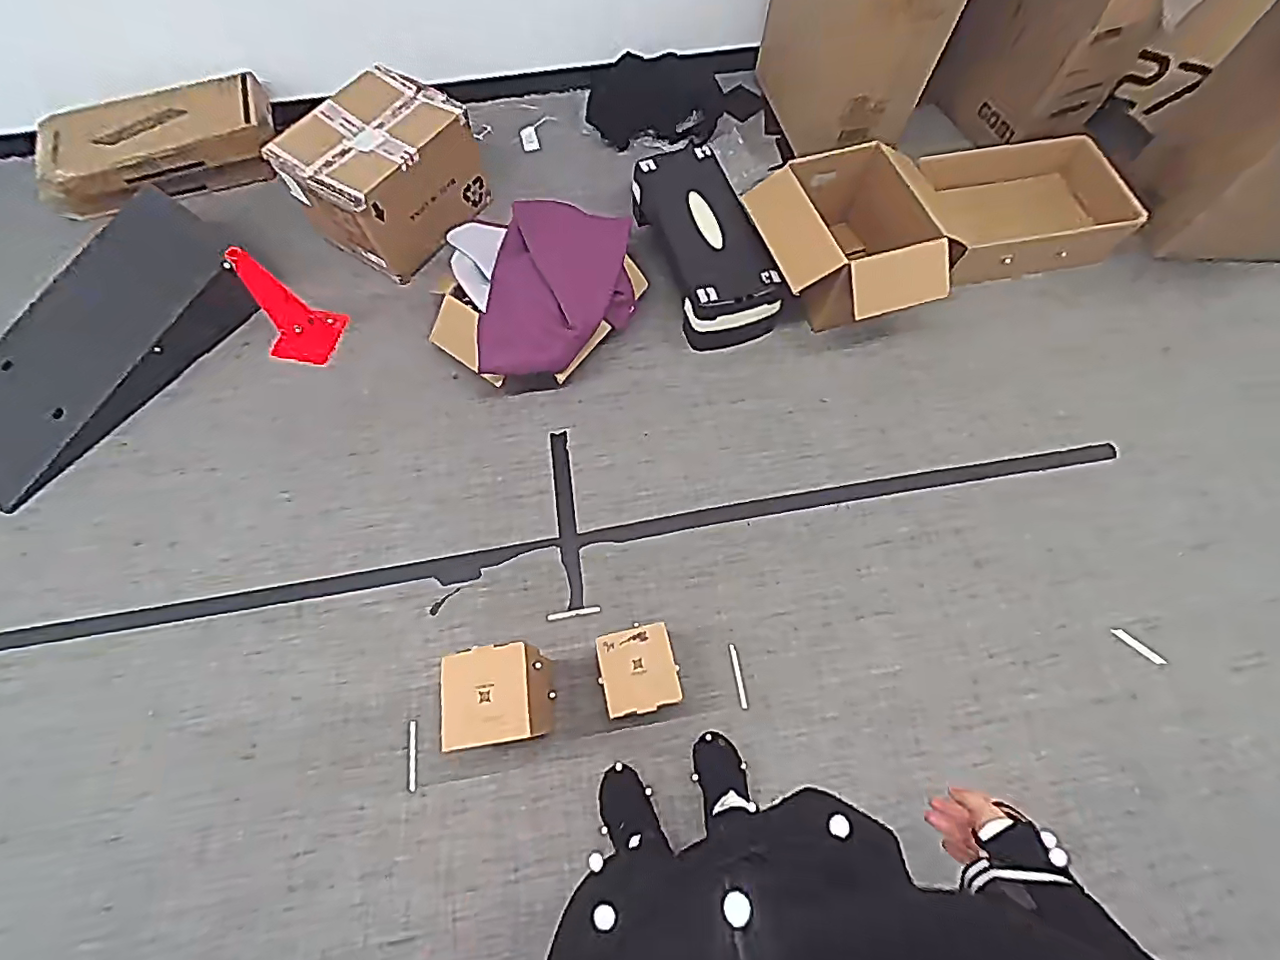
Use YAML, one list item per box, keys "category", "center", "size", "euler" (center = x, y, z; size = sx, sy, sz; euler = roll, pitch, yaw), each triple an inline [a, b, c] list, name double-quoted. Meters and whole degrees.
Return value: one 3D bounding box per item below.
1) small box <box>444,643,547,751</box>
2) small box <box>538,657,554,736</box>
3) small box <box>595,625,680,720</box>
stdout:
- category: "small box"
  center: [-0.292, 0.443, 1.109]
  size: [0.168, 0.176, 0.179]
  euler: [-9, 69, -2]
- category: "small box"
  center: [-0.297, 0.511, 1.257]
  size: [0.179, 0.176, 0.168]
  euler: [-7, 67, -2]
- category: "small box"
  center: [-0.006, 0.455, 1.281]
  size: [0.168, 0.176, 0.179]
  euler: [-12, 68, -4]
